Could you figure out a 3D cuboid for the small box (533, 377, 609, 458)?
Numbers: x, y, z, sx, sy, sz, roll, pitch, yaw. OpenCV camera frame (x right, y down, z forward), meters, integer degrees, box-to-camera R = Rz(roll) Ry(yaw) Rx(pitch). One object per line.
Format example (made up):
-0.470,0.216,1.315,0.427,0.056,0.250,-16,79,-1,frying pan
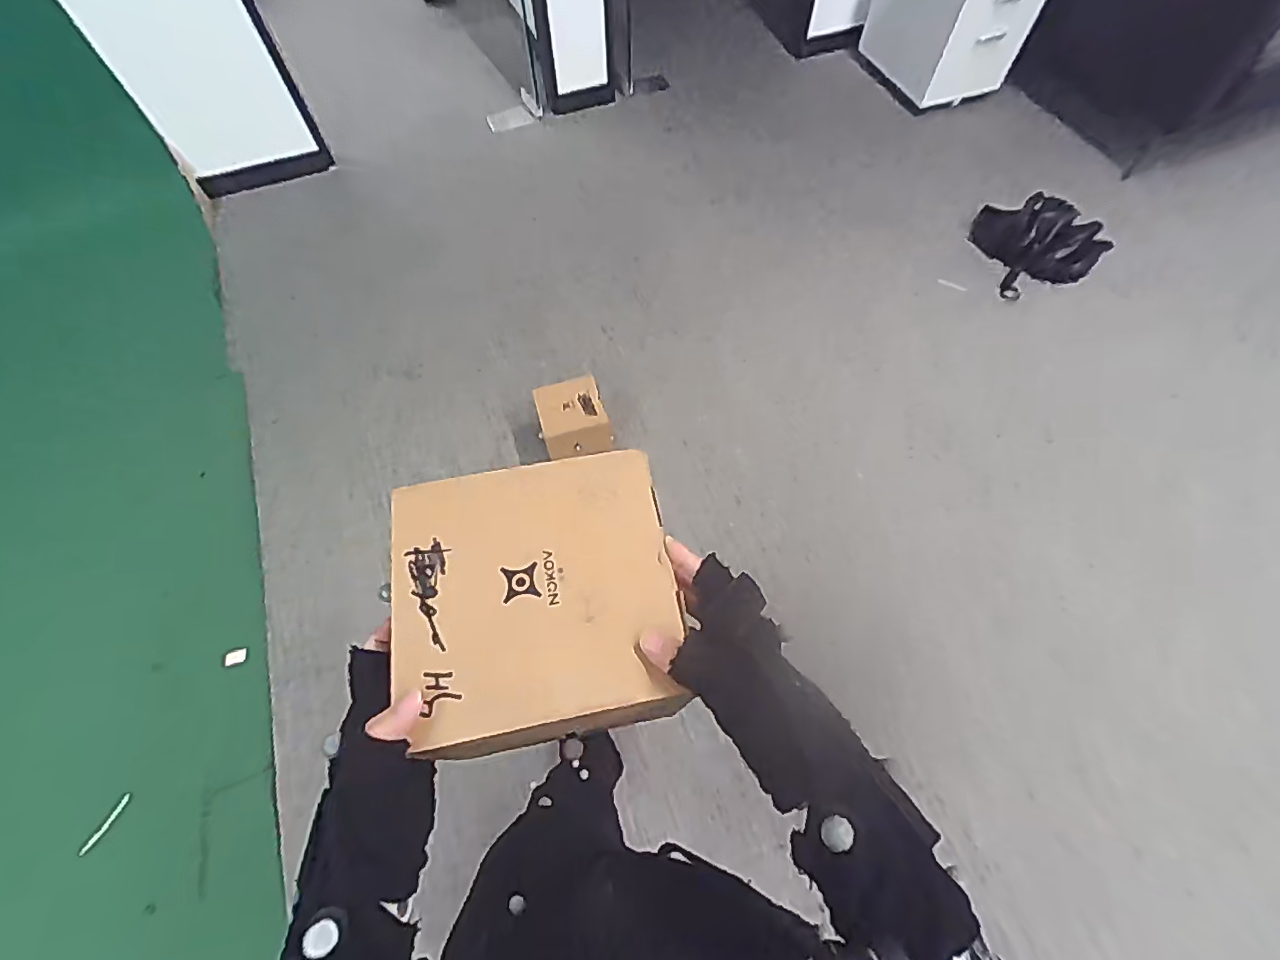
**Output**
-0.188,-0.158,1.520,0.179,0.176,0.168,-16,63,-6,small box

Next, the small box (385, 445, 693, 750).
-0.073,0.097,0.416,0.179,0.176,0.168,-12,64,-8,small box
